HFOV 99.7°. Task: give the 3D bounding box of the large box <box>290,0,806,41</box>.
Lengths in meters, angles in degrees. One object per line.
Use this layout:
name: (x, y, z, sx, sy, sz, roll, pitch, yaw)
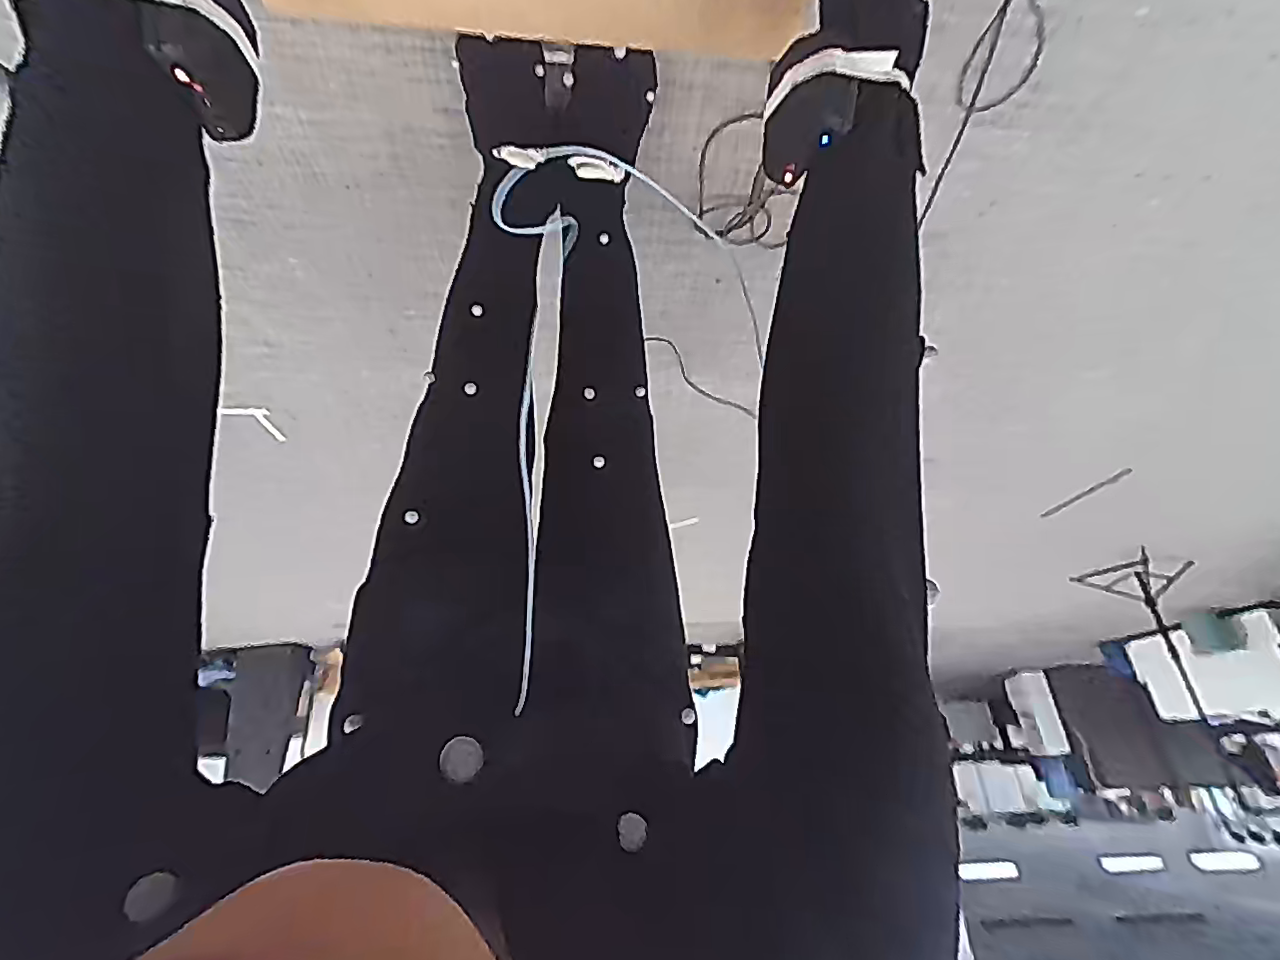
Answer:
large box: (-0.066, -0.565, 0.372, 0.408, 0.320, 0.320, 1, 150, -5)
